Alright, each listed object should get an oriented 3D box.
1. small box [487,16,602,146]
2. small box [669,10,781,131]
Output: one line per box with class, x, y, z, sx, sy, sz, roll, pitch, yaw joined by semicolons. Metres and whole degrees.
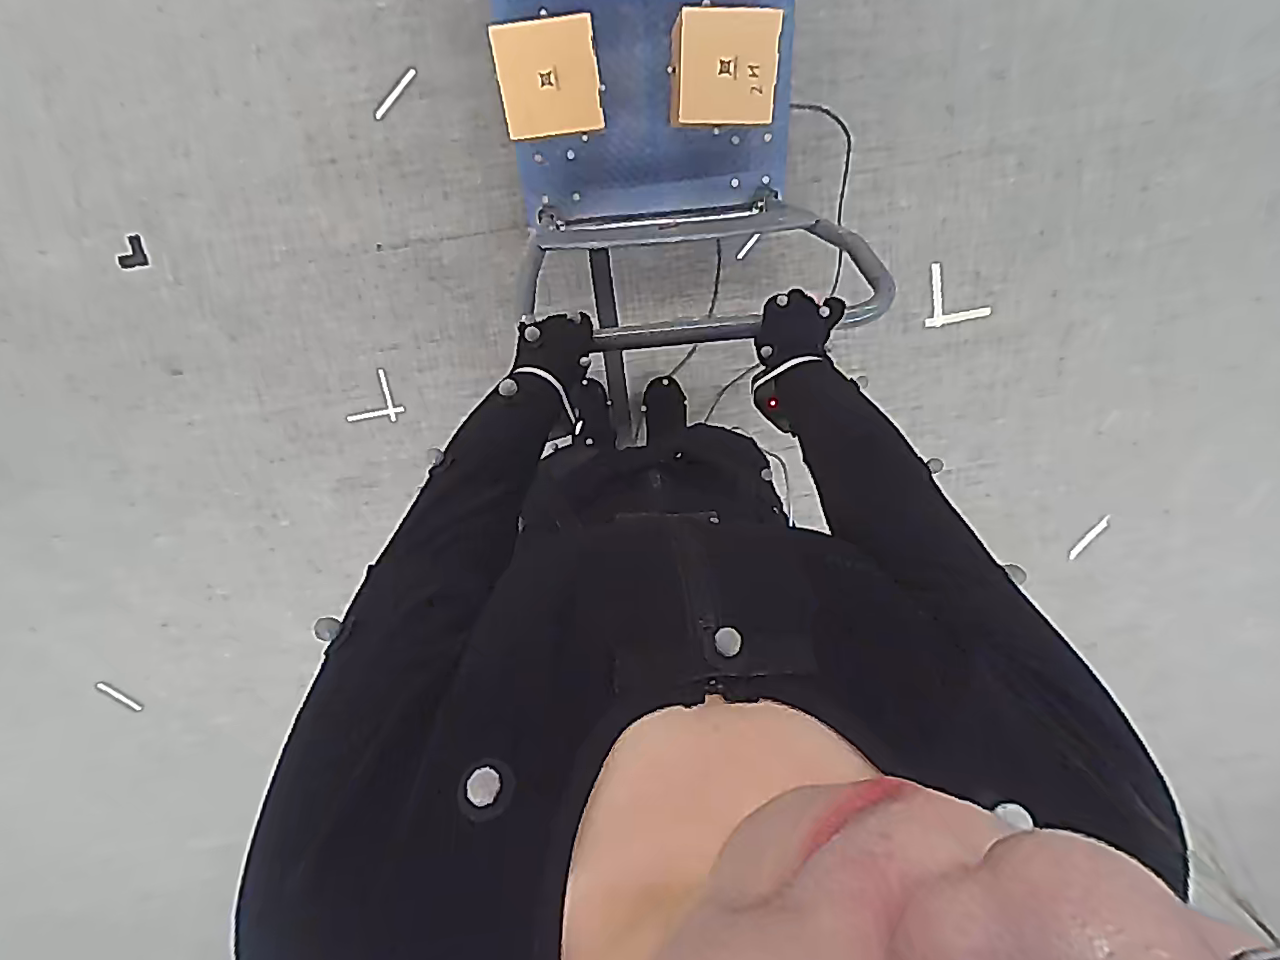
small box;-0.168;-0.734;1.012;0.179;0.176;0.168;-9;121;-1
small box;0.149;-0.760;1.020;0.179;0.176;0.168;-2;121;-3
